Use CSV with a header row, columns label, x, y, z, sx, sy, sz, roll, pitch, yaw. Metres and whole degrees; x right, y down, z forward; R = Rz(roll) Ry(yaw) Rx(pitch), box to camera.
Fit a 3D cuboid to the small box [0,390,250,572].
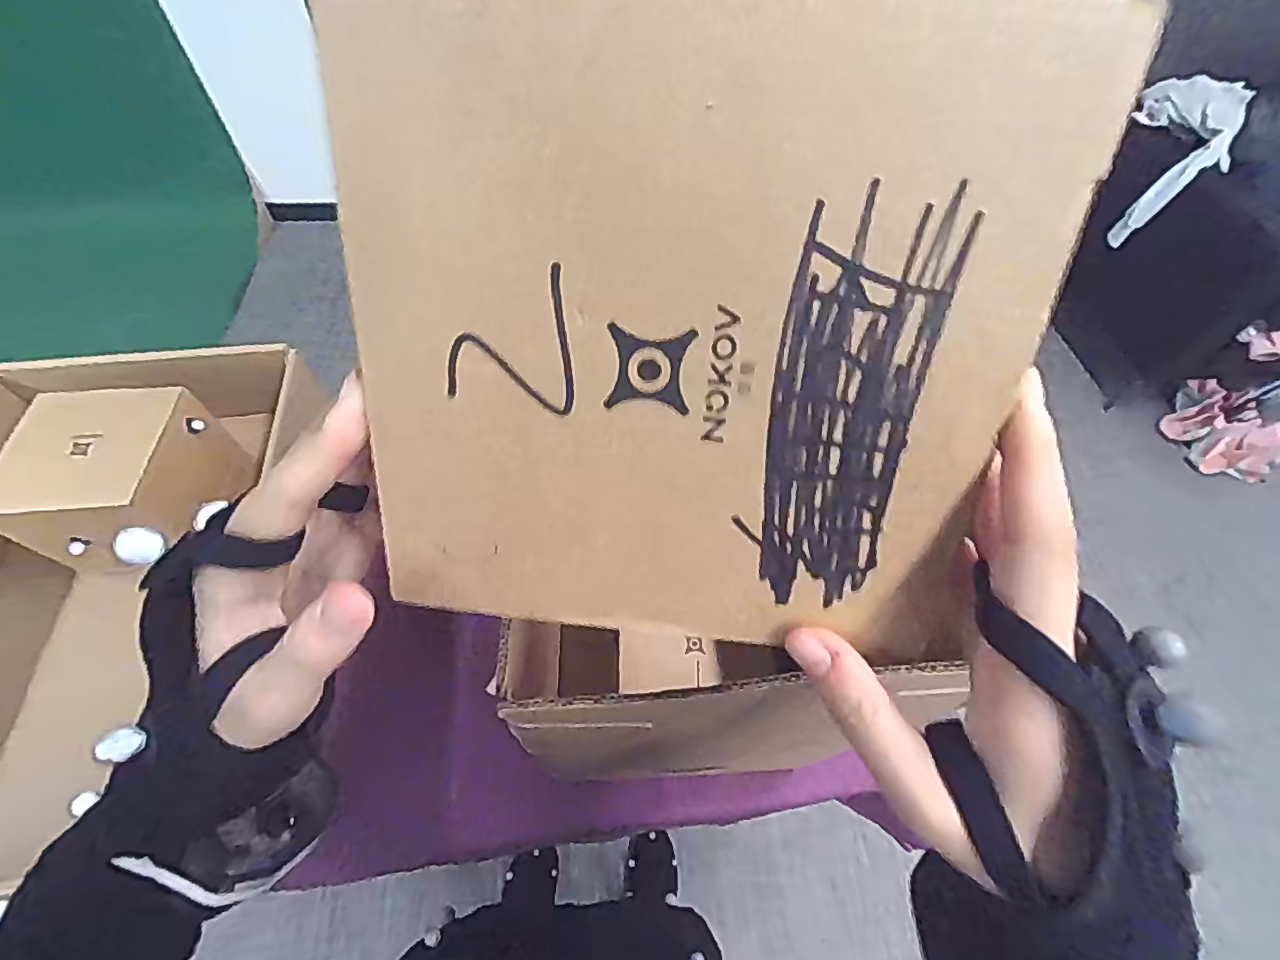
label,x,y,z,sx,sy,sz,roll,pitch,yaw
small box,-0.644,0.009,0.692,0.168,0.176,0.179,-4,57,-6
